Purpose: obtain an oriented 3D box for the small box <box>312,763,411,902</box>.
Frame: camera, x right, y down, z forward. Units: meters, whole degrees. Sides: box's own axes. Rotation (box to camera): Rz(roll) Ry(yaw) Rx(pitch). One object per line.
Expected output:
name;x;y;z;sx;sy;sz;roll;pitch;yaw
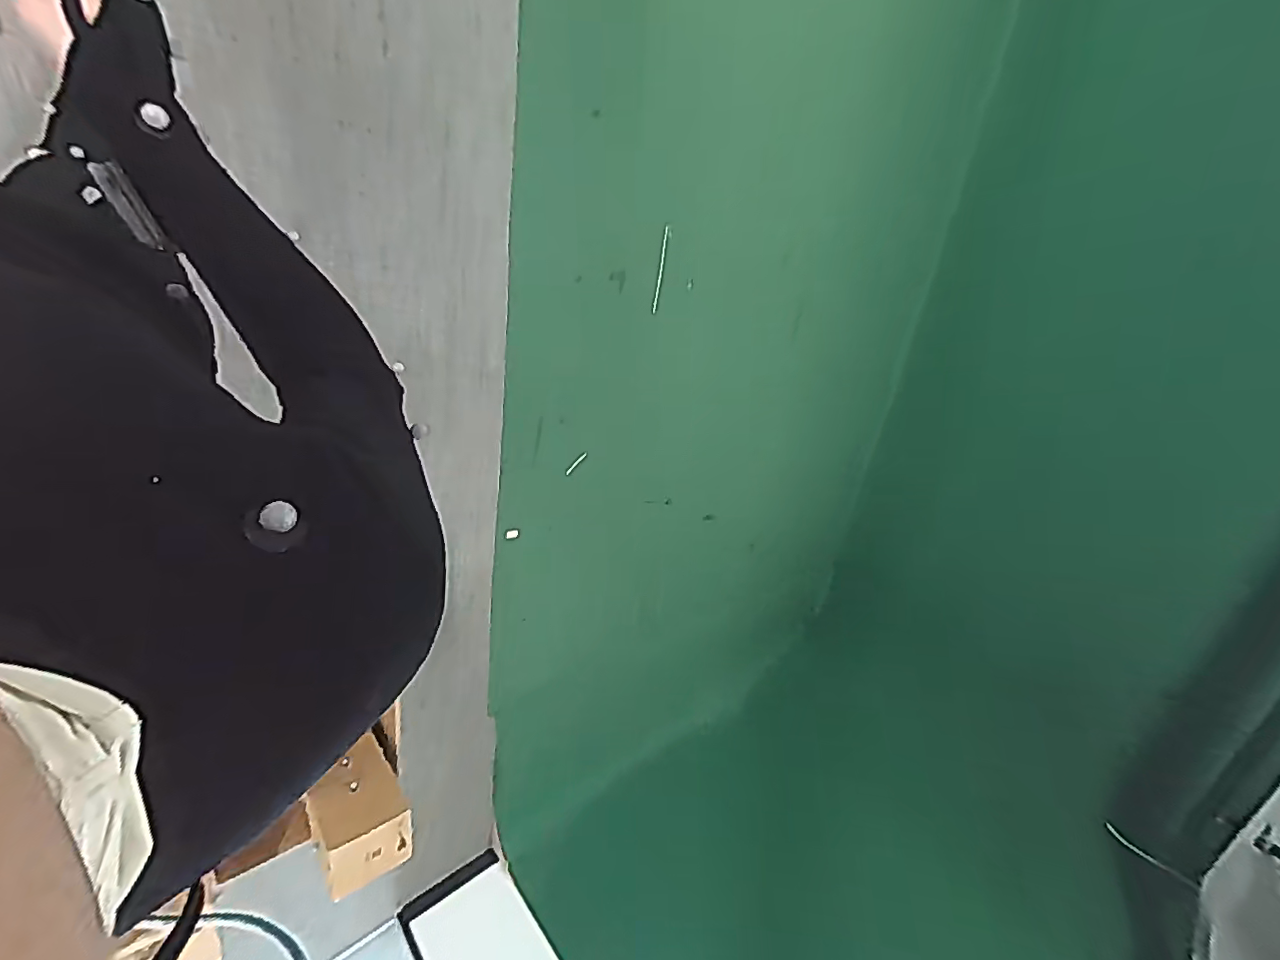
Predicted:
small box;-0.654;0.812;1.265;0.179;0.176;0.168;-10;118;-40
